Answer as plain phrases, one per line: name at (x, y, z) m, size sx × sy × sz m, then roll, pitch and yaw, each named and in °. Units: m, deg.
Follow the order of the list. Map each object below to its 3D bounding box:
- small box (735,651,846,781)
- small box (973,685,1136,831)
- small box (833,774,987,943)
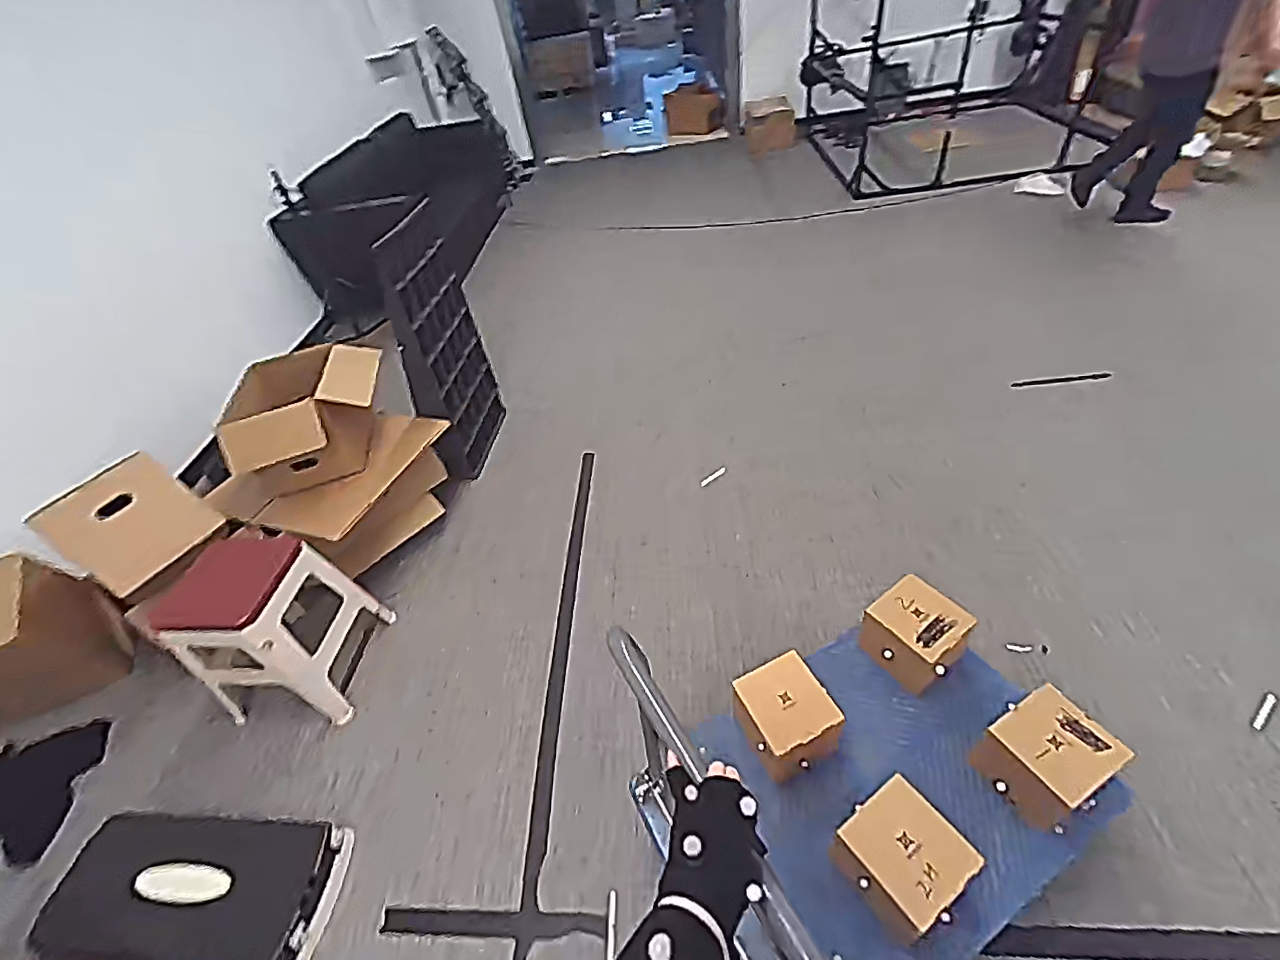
small box at (0.320, 0.520, 1.189) m, size 0.168 × 0.176 × 0.179 m, roll -23°, pitch 45°, yaw -13°
small box at (0.797, 0.547, 1.063) m, size 0.179 × 0.176 × 0.168 m, roll -26°, pitch 45°, yaw -14°
small box at (0.474, 0.686, 0.980) m, size 0.168 × 0.176 × 0.179 m, roll -29°, pitch 46°, yaw -19°
